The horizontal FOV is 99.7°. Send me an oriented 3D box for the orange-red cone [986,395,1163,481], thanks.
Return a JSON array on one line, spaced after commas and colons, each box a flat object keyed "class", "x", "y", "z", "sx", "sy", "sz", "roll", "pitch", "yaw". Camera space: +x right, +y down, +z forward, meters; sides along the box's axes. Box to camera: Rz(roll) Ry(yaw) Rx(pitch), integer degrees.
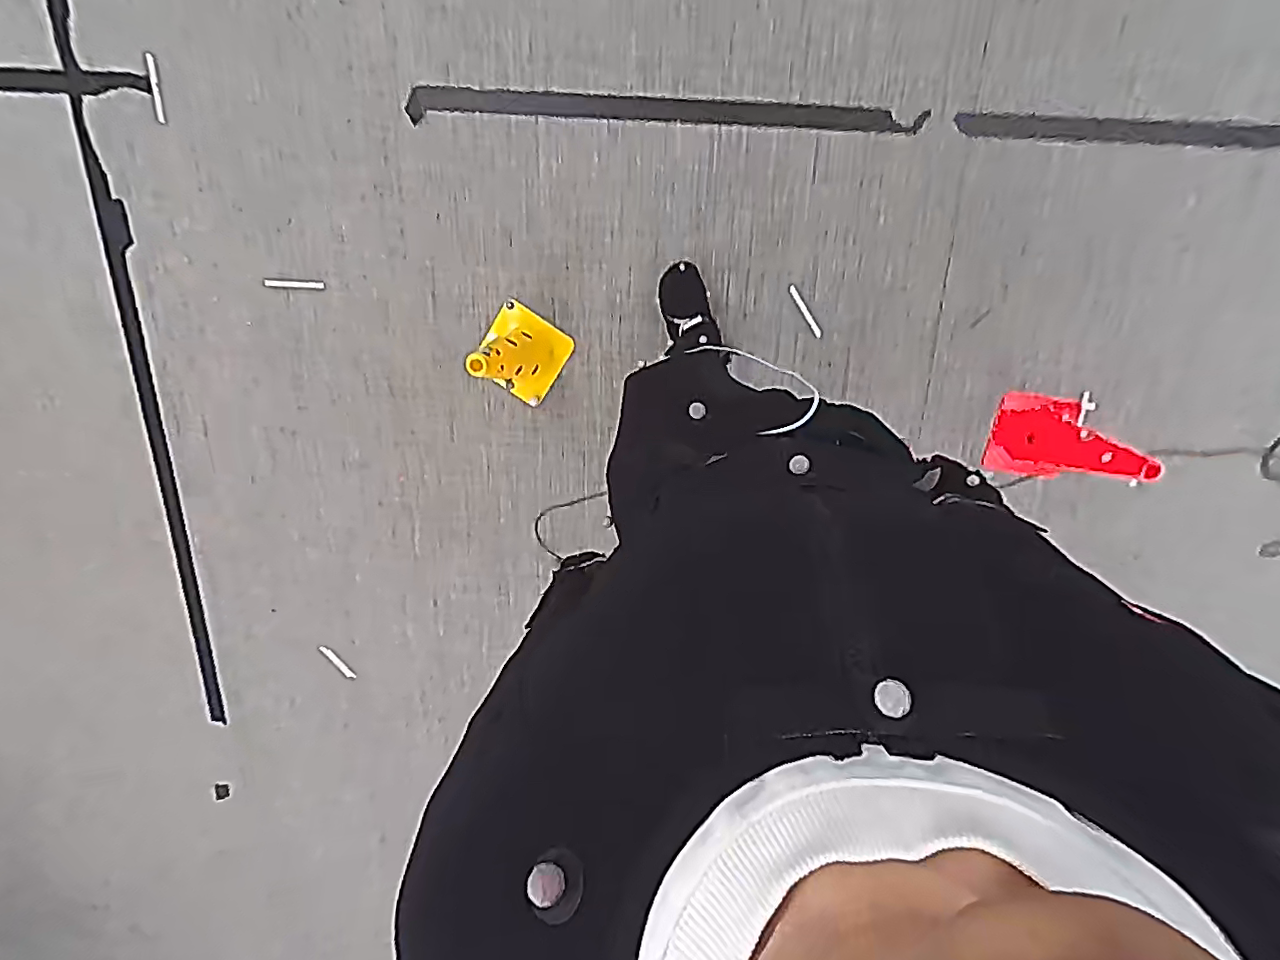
[{"class": "orange-red cone", "x": 0.981, "y": -0.060, "z": 1.194, "sx": 0.199, "sy": 0.360, "sz": 0.198, "roll": 10, "pitch": 105, "yaw": 1}]
